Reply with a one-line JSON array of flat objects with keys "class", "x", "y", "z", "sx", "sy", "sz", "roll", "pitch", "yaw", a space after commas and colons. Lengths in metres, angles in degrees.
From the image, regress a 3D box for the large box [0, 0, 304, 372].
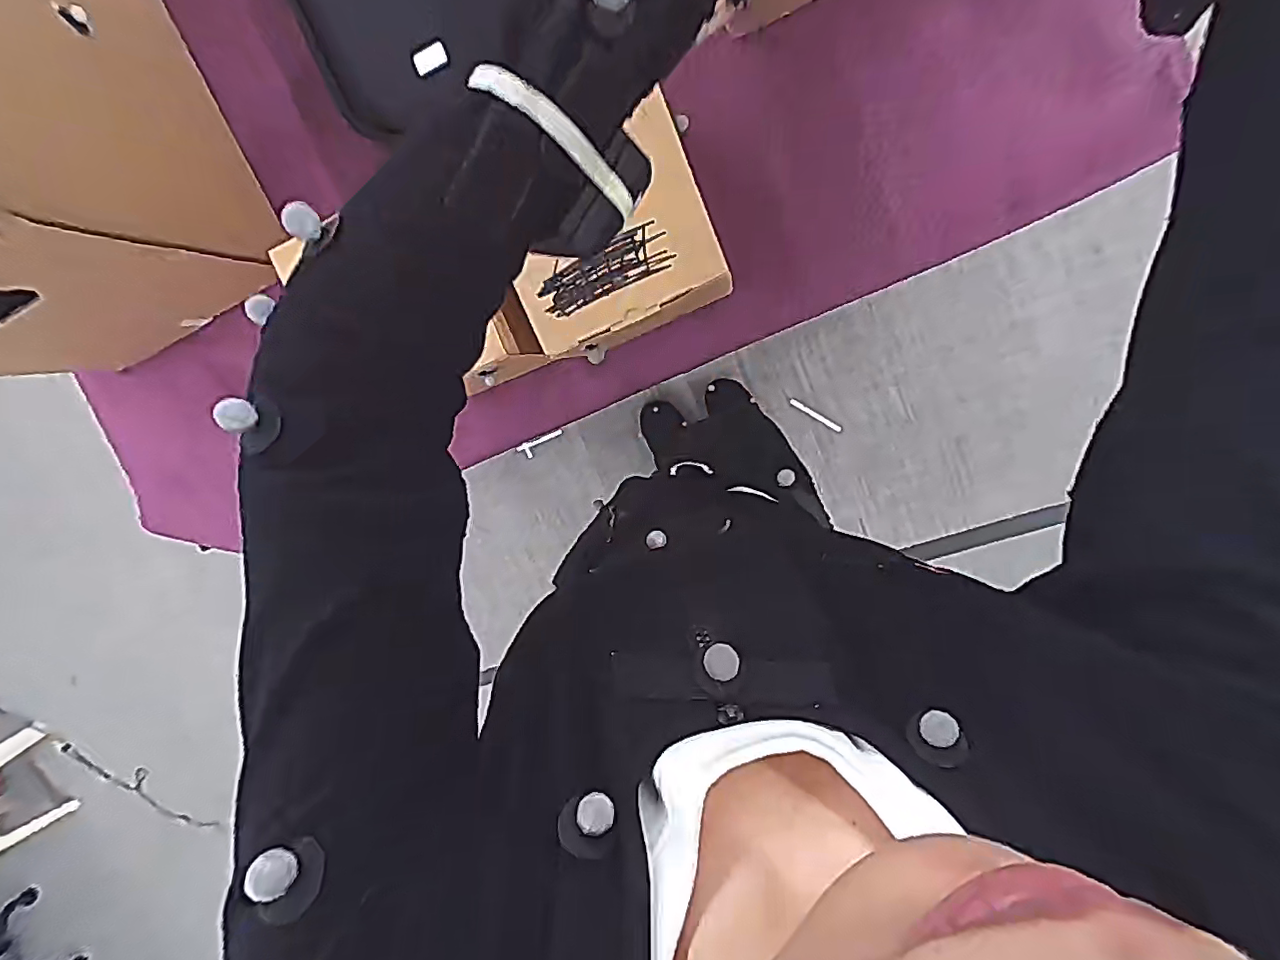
[{"class": "large box", "x": -0.633, "y": -0.345, "z": 0.502, "sx": 0.320, "sy": 0.320, "sz": 0.408, "roll": -22, "pitch": 102, "yaw": 13}]
